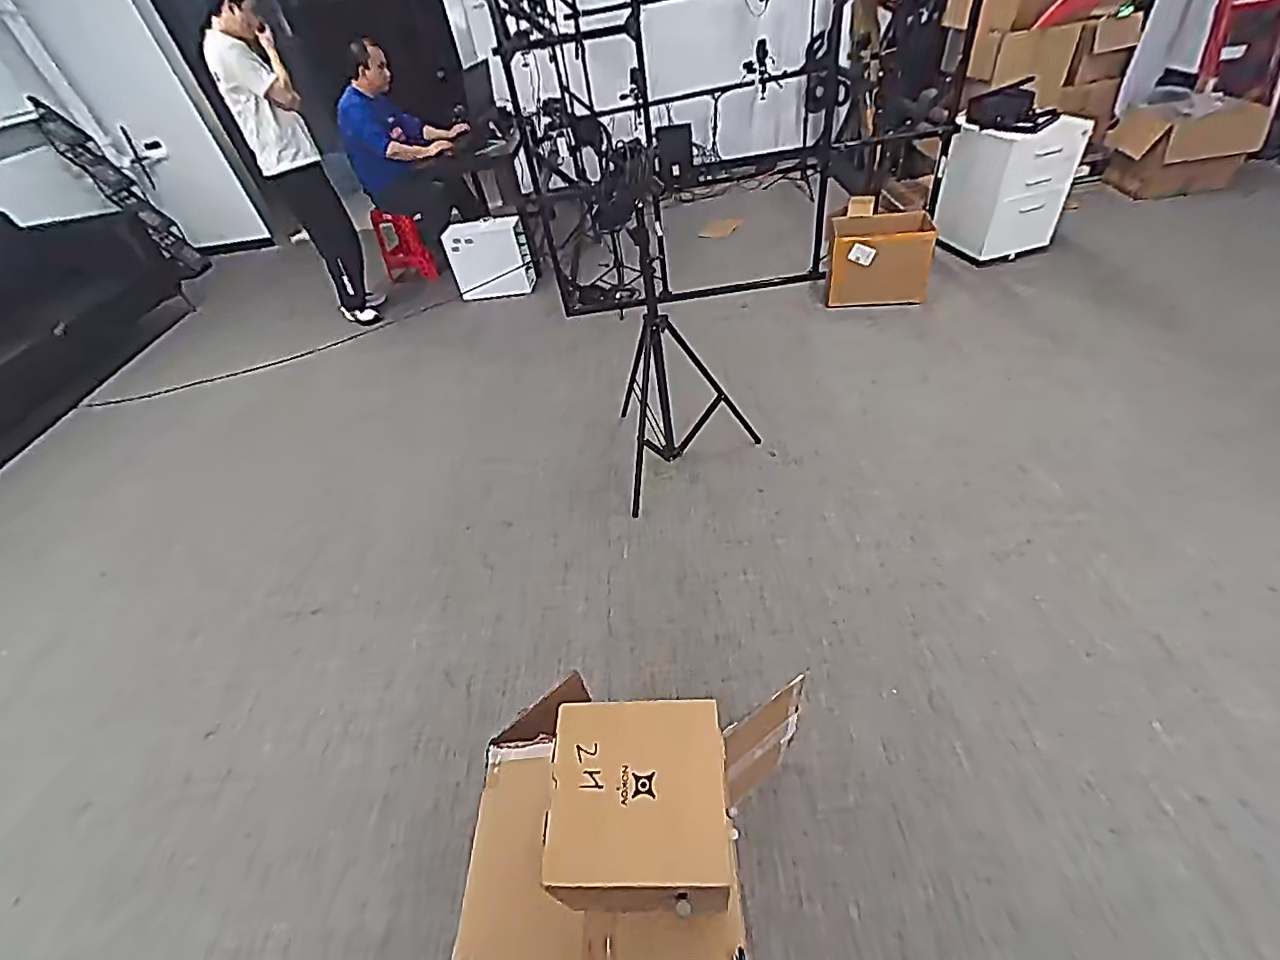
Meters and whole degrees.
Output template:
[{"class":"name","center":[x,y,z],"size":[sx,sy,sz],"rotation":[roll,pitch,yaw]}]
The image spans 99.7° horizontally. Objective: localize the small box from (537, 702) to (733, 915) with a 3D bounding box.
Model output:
[{"class":"small box","center":[0.004,0.356,0.587],"size":[0.179,0.176,0.168],"rotation":[-4,45,5]}]
